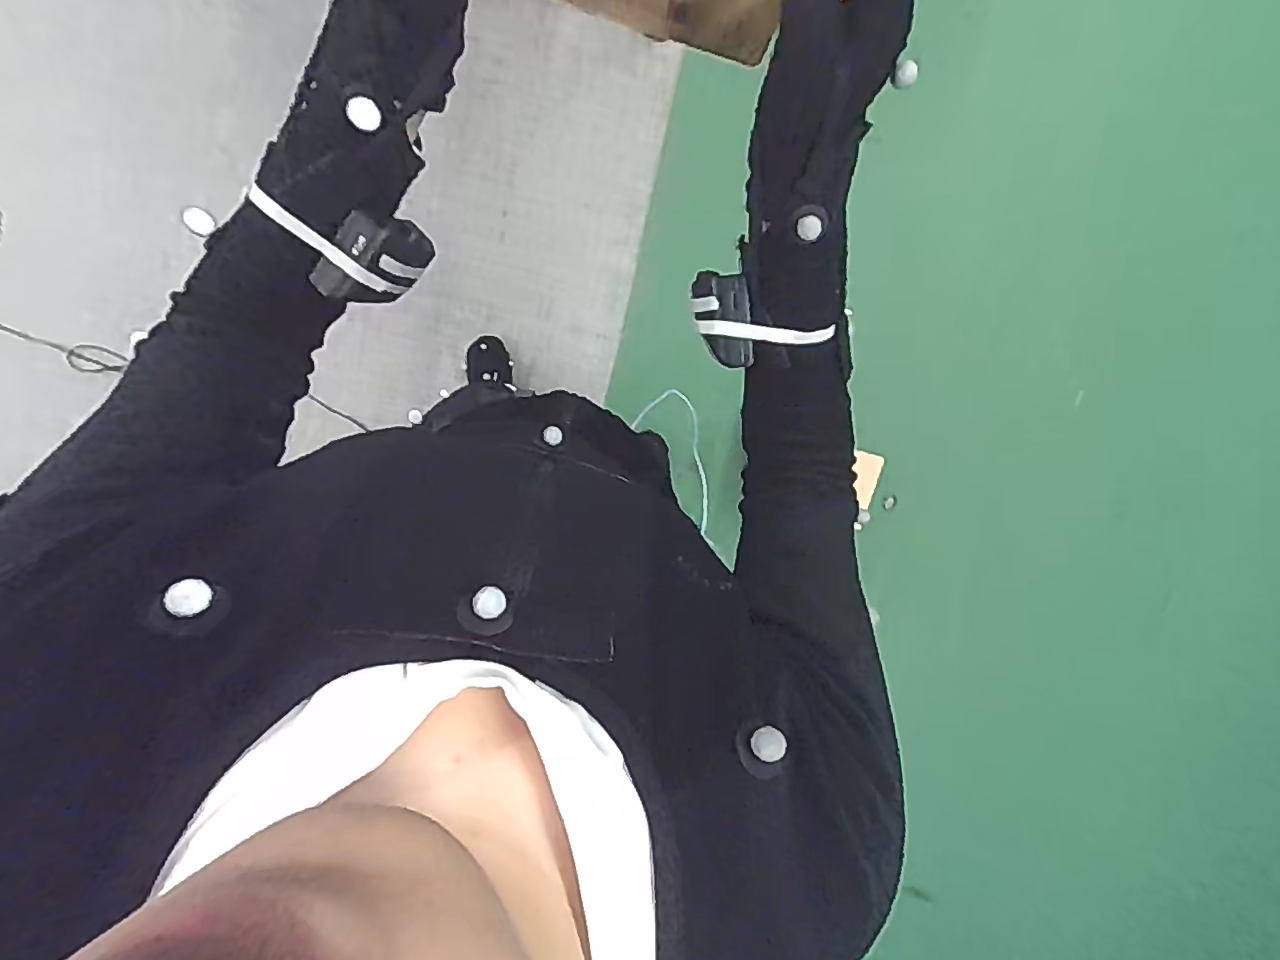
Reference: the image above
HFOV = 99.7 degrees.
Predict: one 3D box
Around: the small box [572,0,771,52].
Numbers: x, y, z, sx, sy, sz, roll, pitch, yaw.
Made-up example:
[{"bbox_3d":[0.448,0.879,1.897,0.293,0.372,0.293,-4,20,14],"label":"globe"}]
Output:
[{"bbox_3d":[0.023,-0.385,0.278,0.168,0.176,0.179,11,94,-8],"label":"small box"}]
